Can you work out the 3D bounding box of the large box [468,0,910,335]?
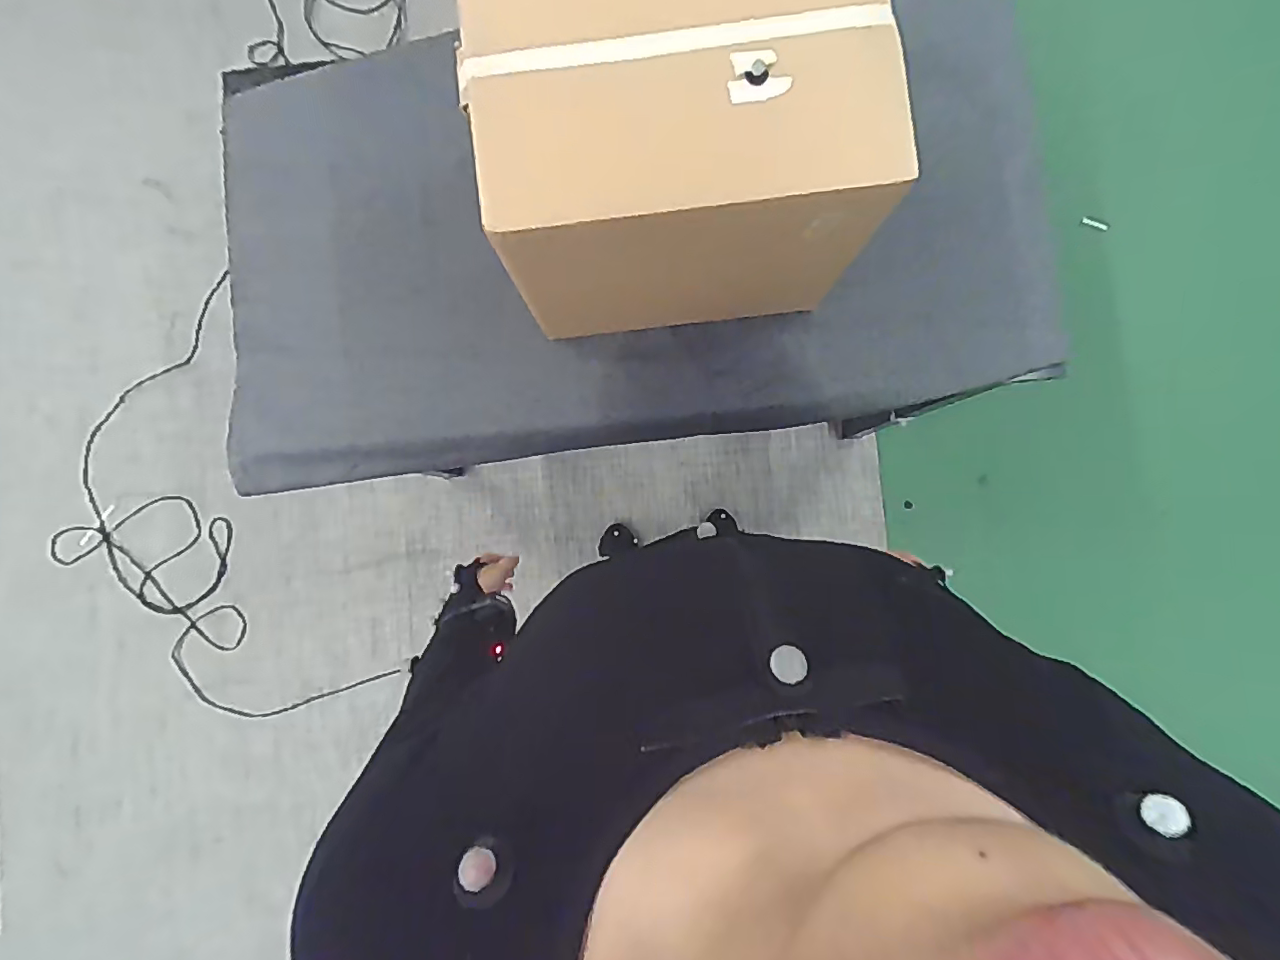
[{"bbox_3d":[0.040,-0.400,0.668,0.408,0.320,0.320,-7,87,0],"label":"large box"}]
